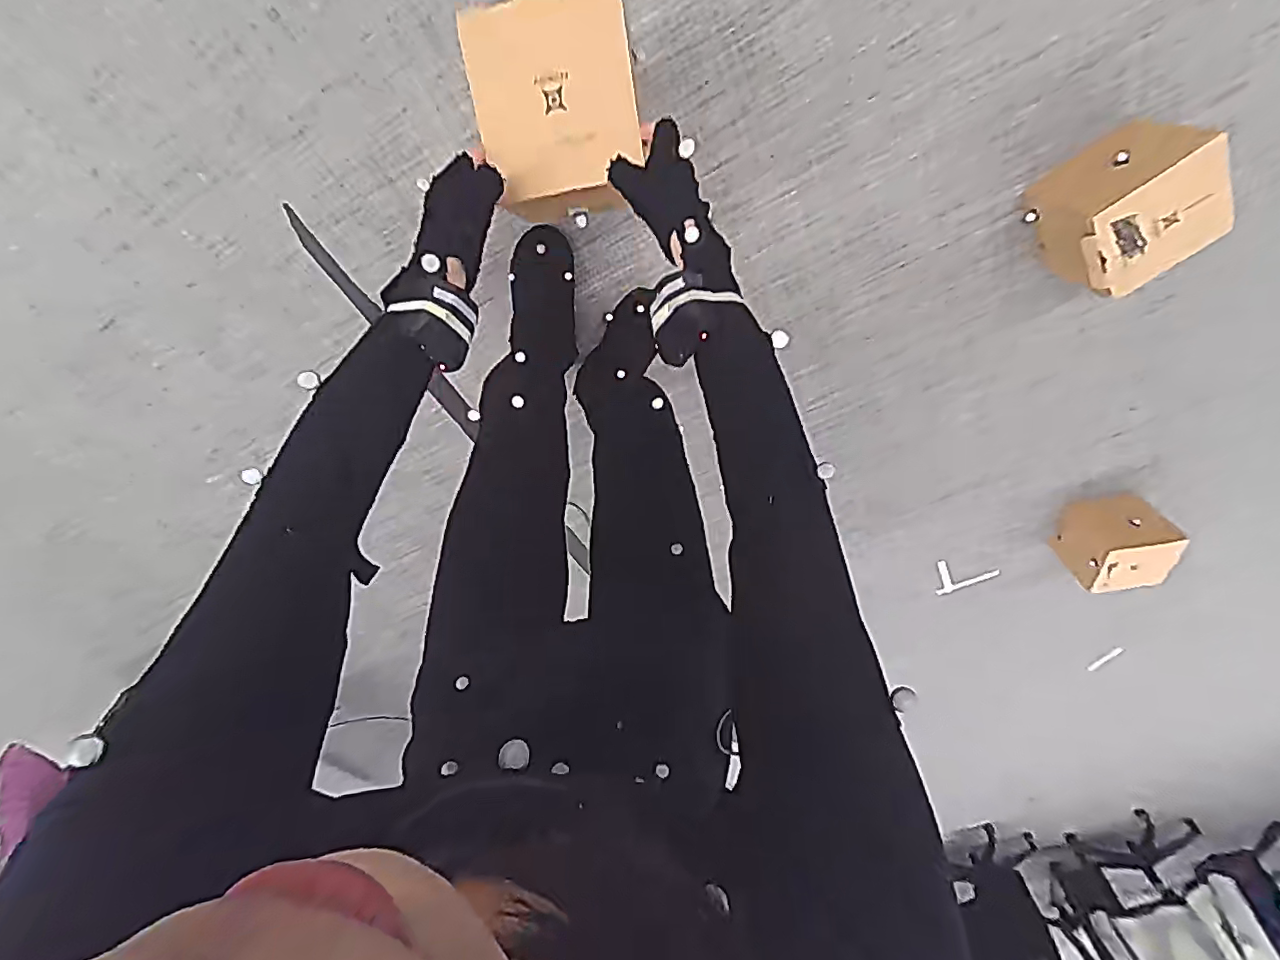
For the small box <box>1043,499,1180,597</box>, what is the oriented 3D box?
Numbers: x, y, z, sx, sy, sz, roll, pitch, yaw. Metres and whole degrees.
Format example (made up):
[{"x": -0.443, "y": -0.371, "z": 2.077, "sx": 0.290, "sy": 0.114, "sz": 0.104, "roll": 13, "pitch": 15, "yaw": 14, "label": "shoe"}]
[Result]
[{"x": 1.182, "y": 0.168, "z": 1.373, "sx": 0.179, "sy": 0.176, "sz": 0.168, "roll": -11, "pitch": 129, "yaw": 5, "label": "small box"}]

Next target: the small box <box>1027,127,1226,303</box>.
[{"x": 0.763, "y": -0.425, "z": 0.867, "sx": 0.179, "sy": 0.176, "sz": 0.168, "roll": -33, "pitch": 123, "yaw": 20, "label": "small box"}]

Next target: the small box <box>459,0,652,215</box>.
[{"x": -0.080, "y": -0.420, "z": 0.616, "sx": 0.168, "sy": 0.176, "sz": 0.179, "roll": -7, "pitch": 109, "yaw": 7, "label": "small box"}]
